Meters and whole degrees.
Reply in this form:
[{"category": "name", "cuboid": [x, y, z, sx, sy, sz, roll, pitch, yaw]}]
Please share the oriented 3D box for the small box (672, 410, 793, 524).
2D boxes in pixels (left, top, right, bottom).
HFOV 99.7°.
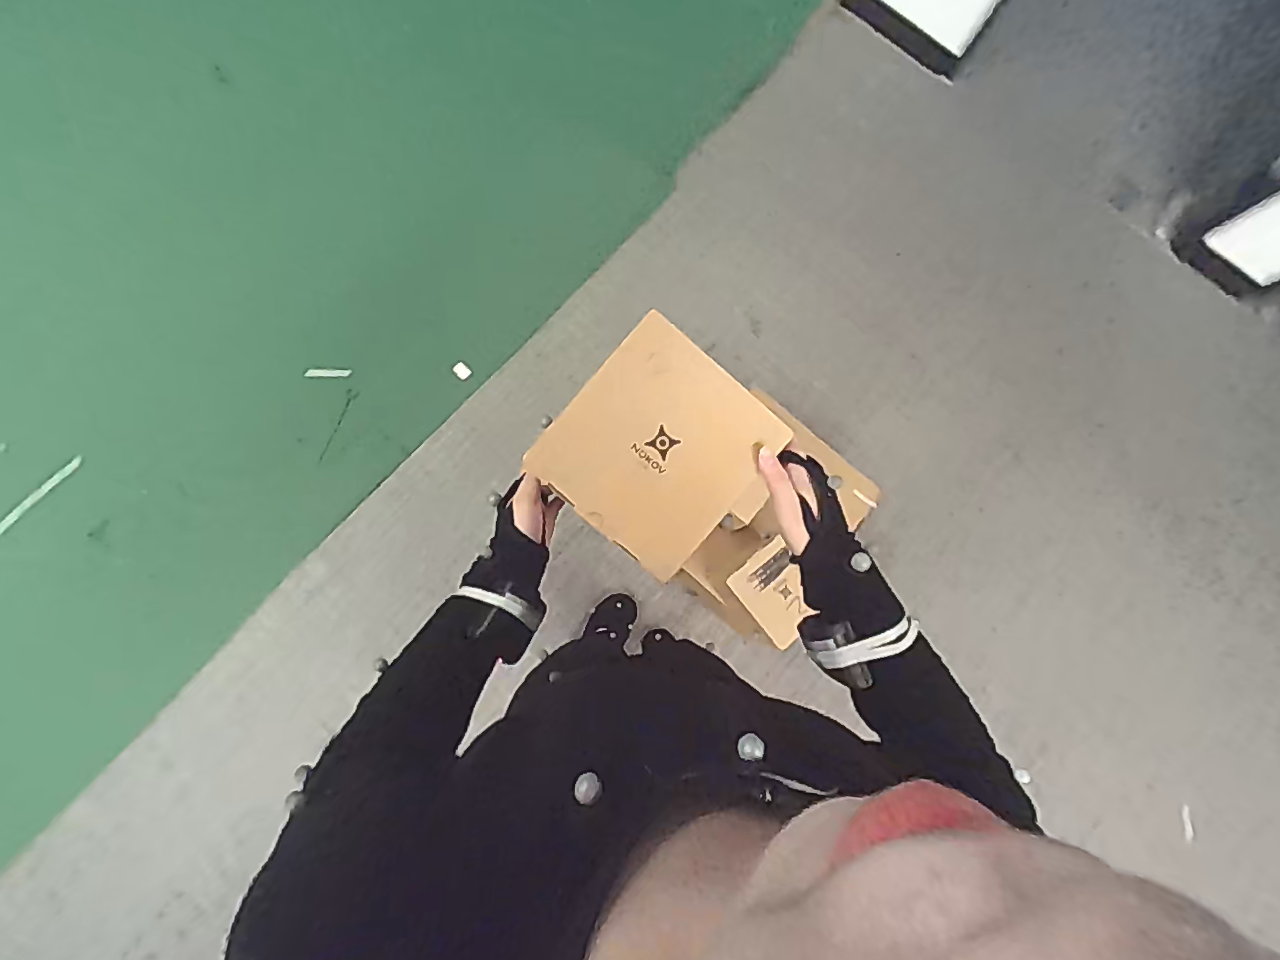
[{"category": "small box", "cuboid": [0.191, -0.018, 1.172, 0.179, 0.176, 0.168, 40, 78, 4]}]
